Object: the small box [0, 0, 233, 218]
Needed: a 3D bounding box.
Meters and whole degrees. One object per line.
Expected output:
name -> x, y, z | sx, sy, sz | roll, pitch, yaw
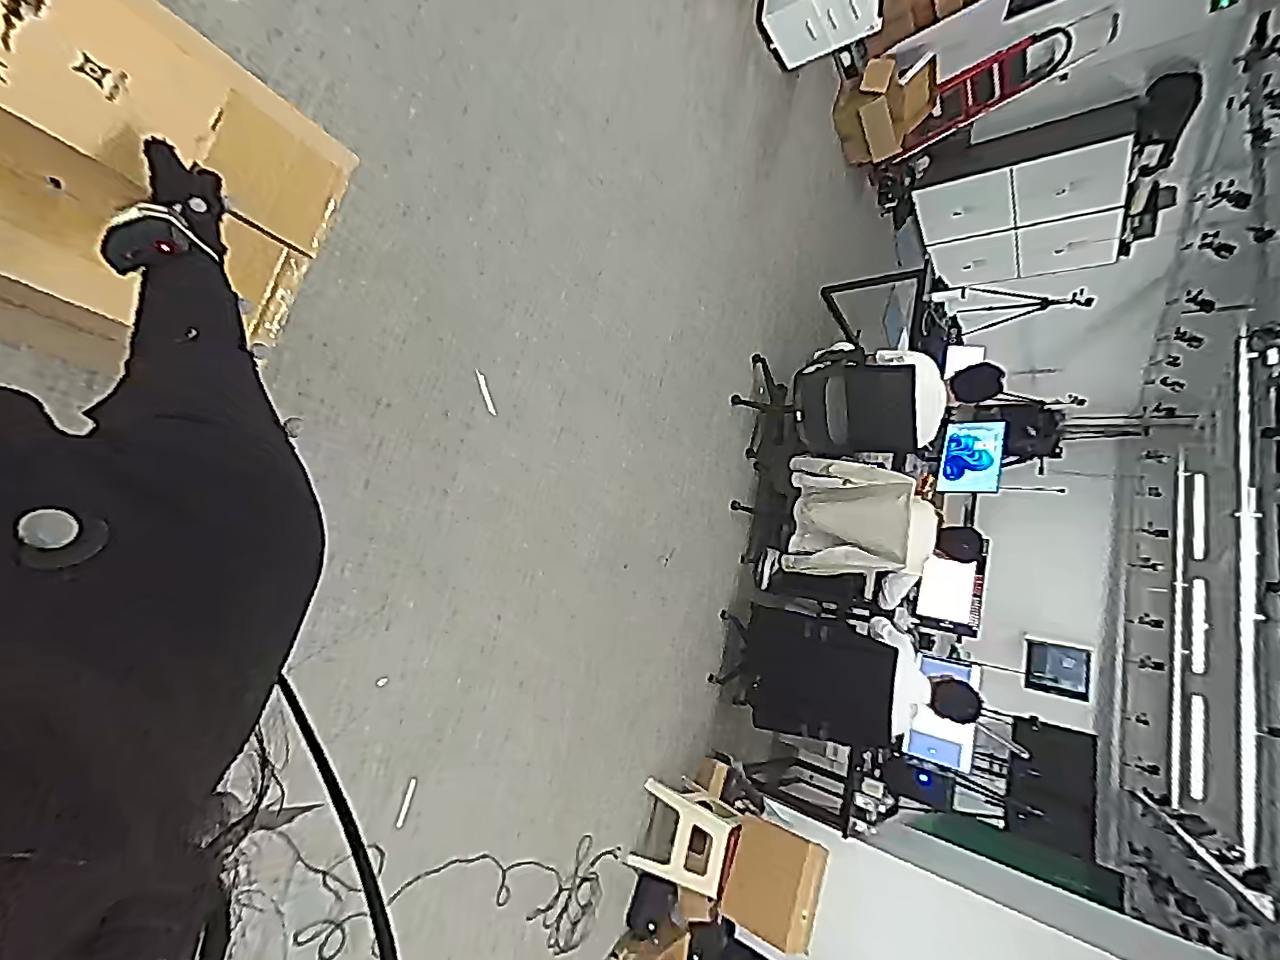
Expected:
small box -> -0.602, -0.416, 0.592 | 0.179, 0.176, 0.168 | 31, 70, -49
